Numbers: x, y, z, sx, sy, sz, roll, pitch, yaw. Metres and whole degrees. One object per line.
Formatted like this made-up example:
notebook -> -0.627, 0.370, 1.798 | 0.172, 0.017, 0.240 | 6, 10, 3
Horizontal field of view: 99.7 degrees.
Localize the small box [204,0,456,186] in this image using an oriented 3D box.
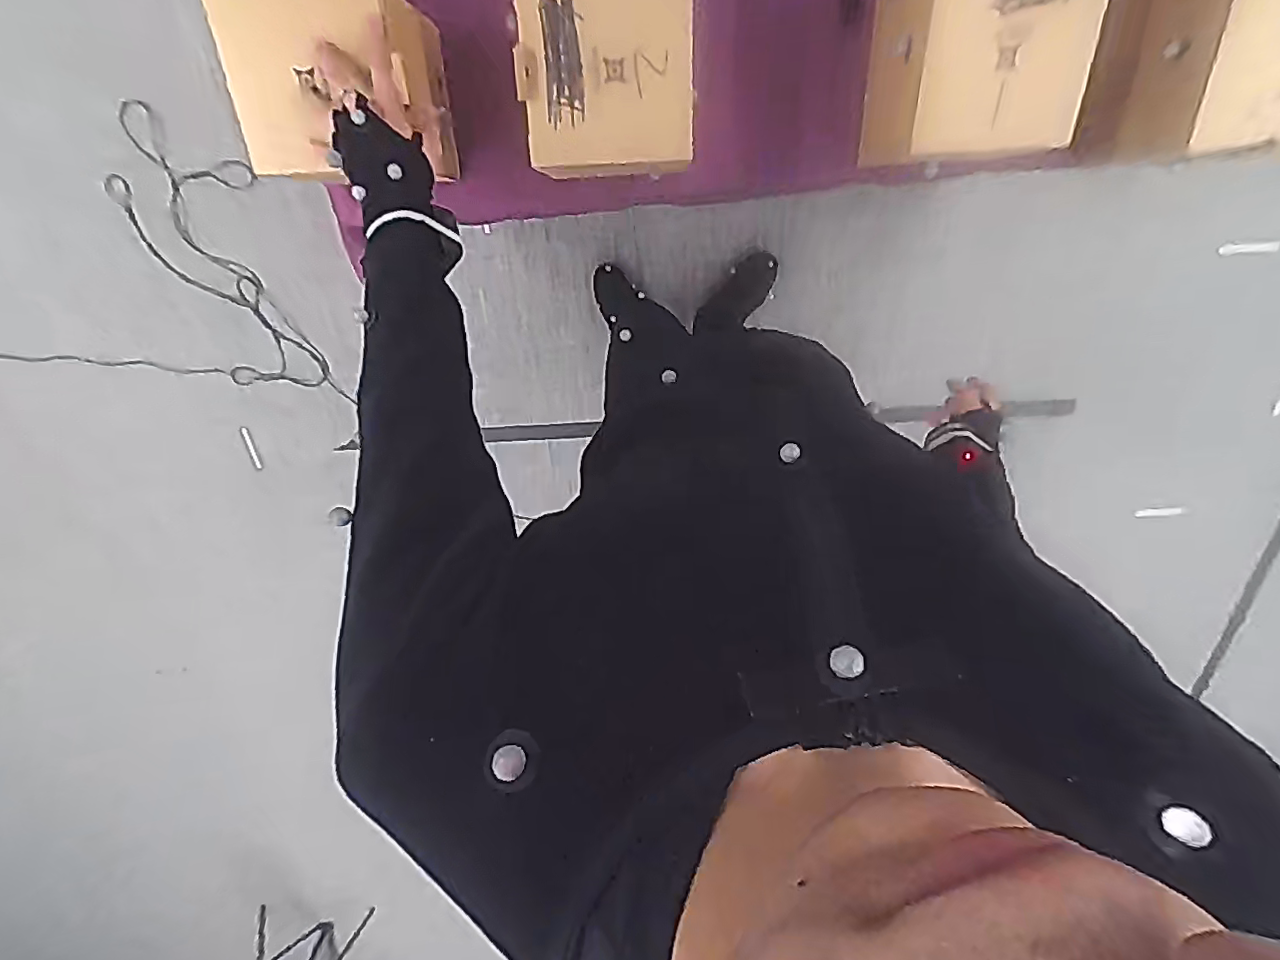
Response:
small box -> -0.335, -0.439, 0.624 | 0.179, 0.176, 0.168 | -2, 116, 1
